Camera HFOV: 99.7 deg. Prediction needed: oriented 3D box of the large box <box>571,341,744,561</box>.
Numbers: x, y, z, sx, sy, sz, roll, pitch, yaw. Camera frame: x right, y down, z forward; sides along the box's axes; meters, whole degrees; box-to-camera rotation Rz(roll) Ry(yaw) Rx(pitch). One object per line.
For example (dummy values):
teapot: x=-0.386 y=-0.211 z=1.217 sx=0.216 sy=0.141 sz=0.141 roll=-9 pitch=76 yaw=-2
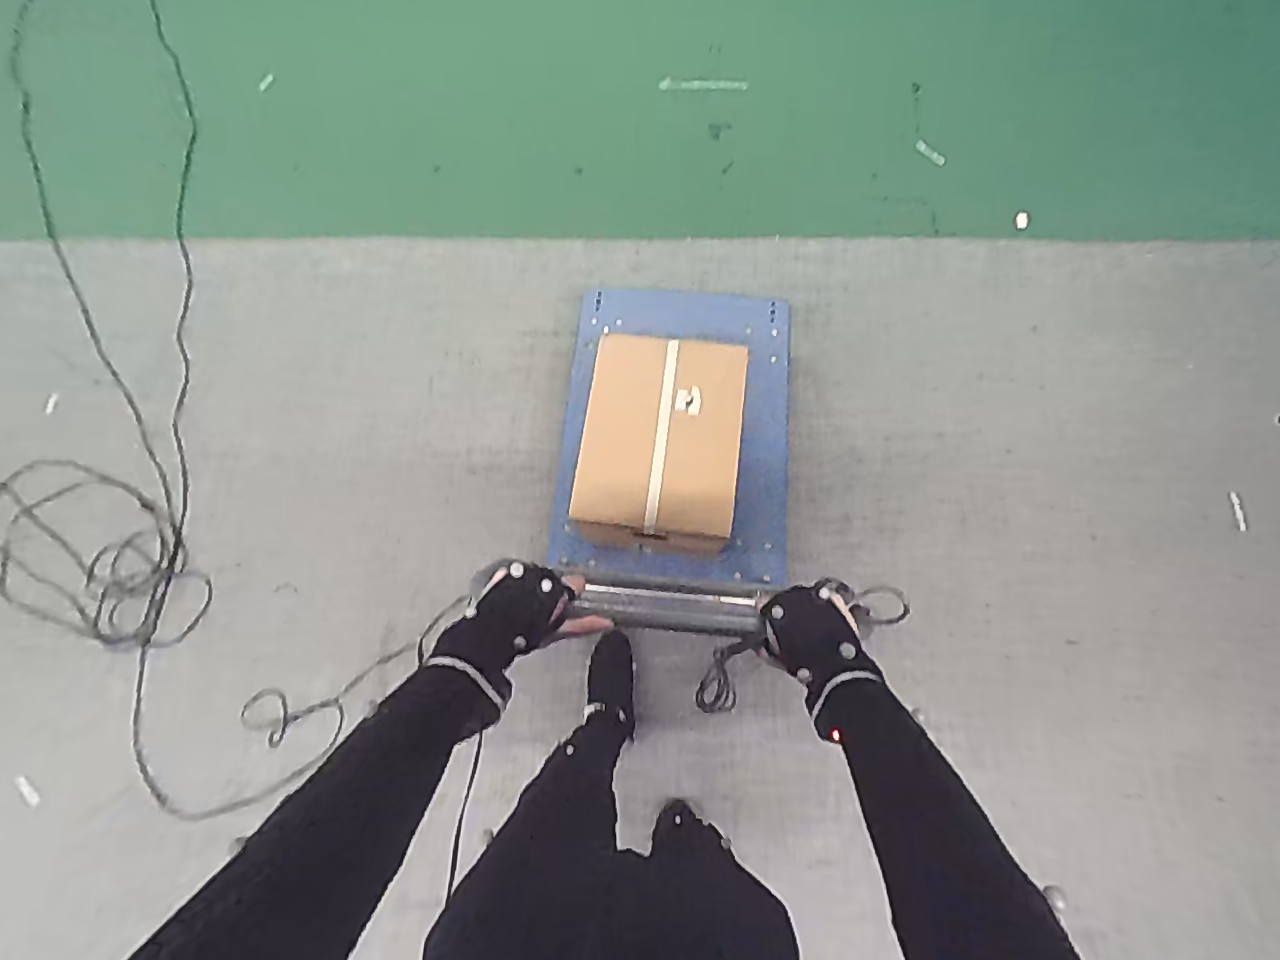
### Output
large box: x=0.048 y=-0.047 z=1.220 sx=0.320 sy=0.320 sz=0.408 roll=7 pitch=74 yaw=4
